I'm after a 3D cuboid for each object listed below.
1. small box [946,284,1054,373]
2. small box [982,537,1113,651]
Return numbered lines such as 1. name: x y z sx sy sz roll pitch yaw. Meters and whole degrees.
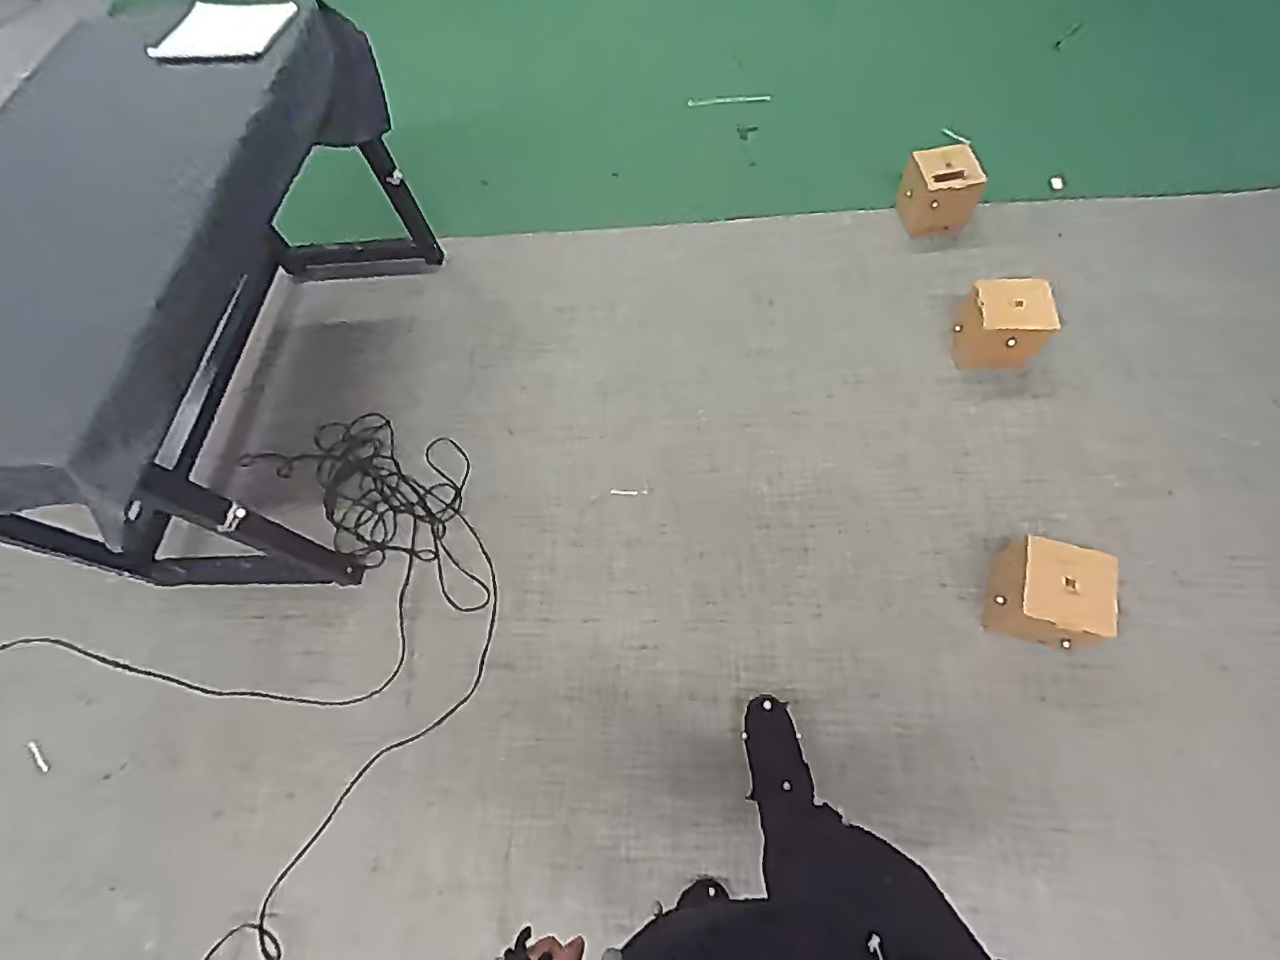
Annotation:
1. small box: 0.952 -0.401 1.446 0.179 0.176 0.168 3 65 9
2. small box: 0.855 0.248 1.148 0.168 0.176 0.179 15 66 12
